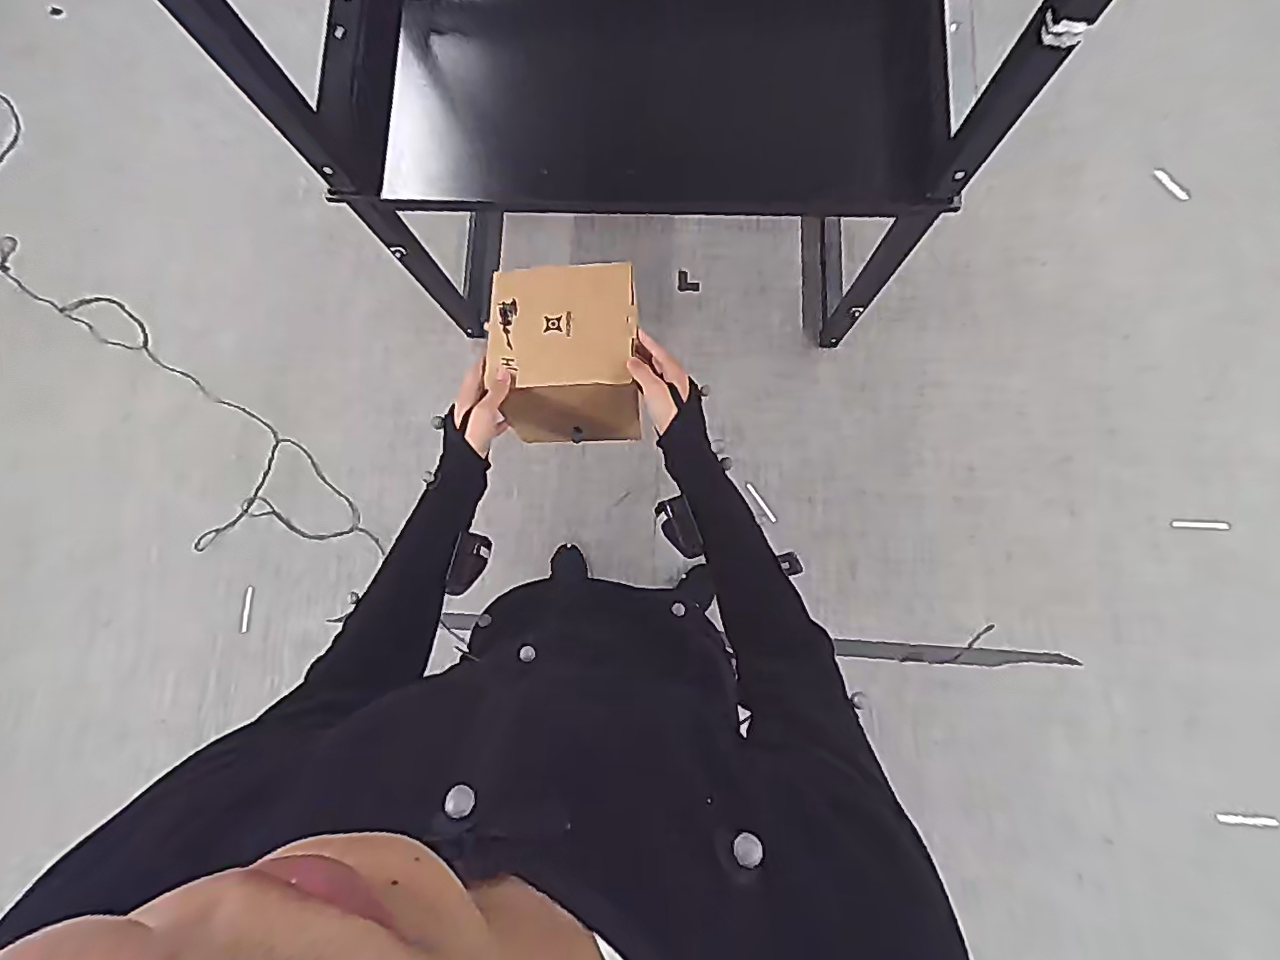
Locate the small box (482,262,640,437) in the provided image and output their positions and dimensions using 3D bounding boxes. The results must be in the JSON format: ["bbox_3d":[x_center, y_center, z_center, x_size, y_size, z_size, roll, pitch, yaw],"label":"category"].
[{"bbox_3d":[-0.089,-0.162,0.712,0.179,0.176,0.168,-1,72,3],"label":"small box"}]
